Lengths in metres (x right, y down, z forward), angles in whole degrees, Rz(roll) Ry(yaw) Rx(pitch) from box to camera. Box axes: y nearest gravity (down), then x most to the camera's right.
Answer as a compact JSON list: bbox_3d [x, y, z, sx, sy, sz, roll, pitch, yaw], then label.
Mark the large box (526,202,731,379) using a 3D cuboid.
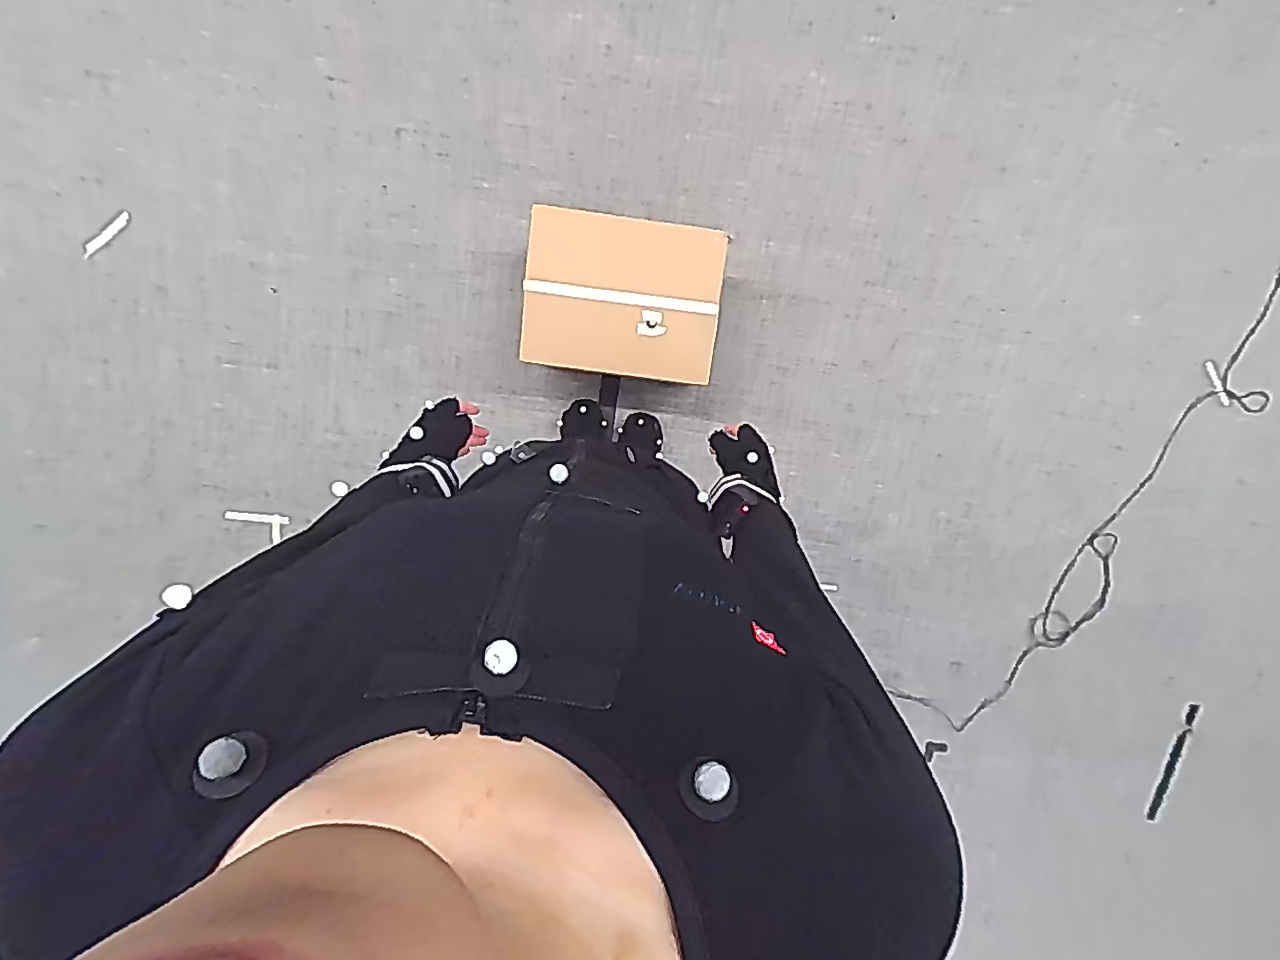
[{"bbox_3d":[-0.034,-0.412,1.258,0.408,0.320,0.320,7,101,-3],"label":"large box"}]
